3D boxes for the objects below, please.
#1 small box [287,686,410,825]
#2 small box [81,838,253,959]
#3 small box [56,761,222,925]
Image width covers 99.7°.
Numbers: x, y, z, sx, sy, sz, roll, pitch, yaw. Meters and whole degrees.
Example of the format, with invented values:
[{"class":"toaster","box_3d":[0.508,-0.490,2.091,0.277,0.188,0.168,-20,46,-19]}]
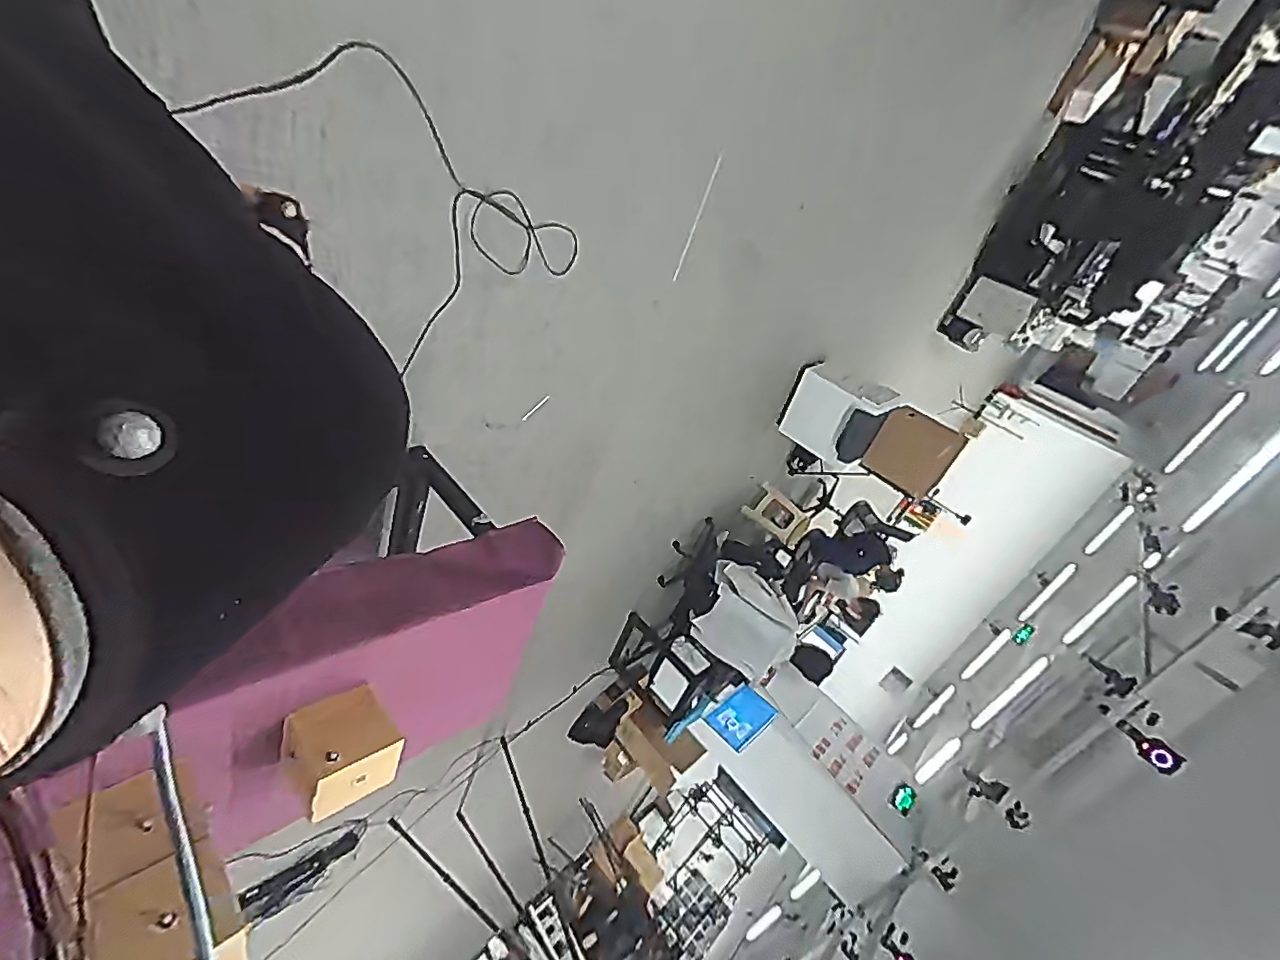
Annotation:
[{"class":"small box","box_3d":[-0.630,0.582,1.166,0.179,0.176,0.168,-11,133,-47]},{"class":"small box","box_3d":[-0.729,0.715,0.839,0.179,0.176,0.168,-14,136,-47]},{"class":"small box","box_3d":[-0.841,0.625,0.920,0.179,0.176,0.168,-16,136,-46]}]
